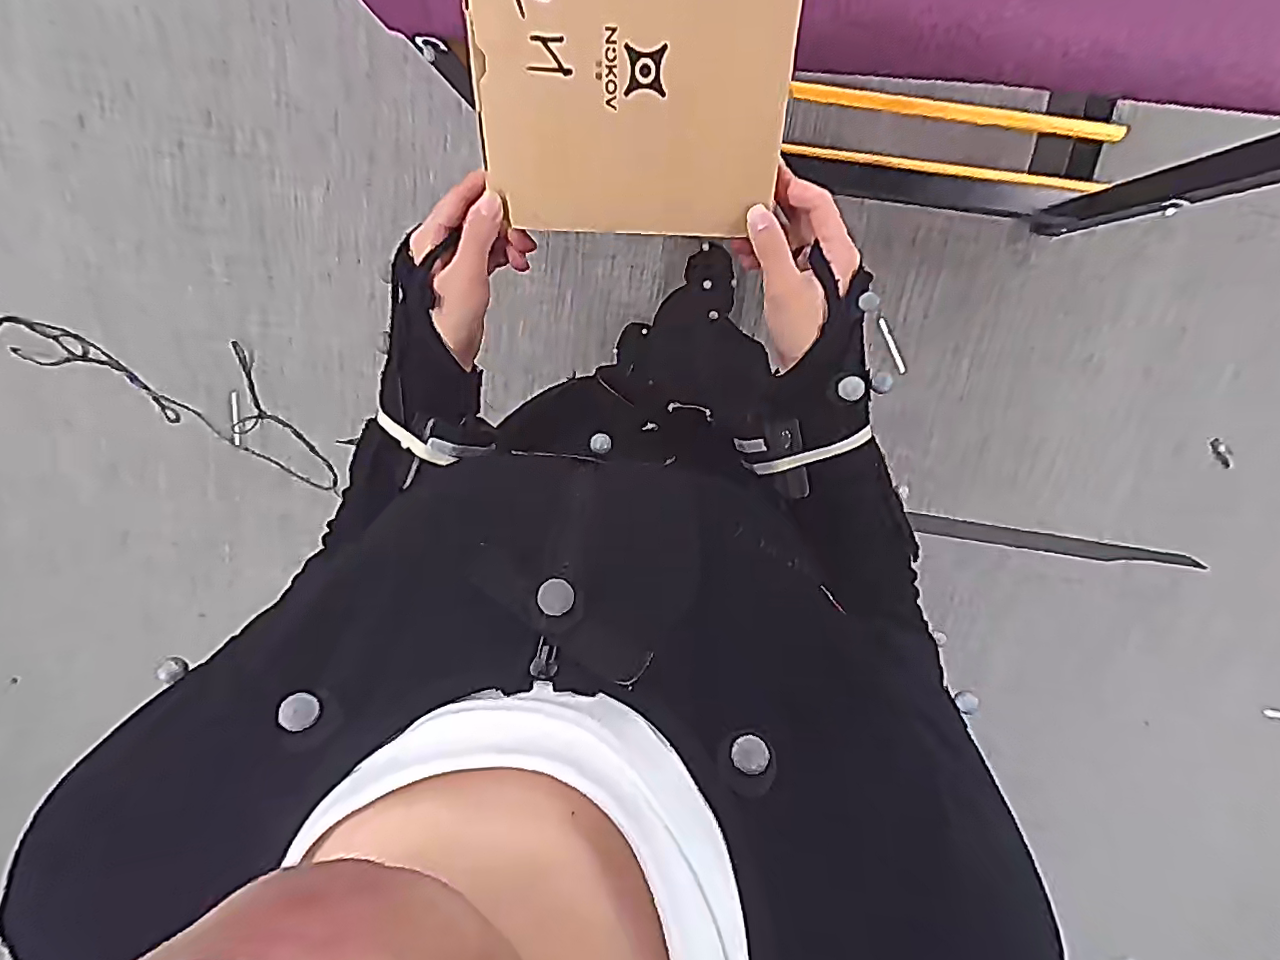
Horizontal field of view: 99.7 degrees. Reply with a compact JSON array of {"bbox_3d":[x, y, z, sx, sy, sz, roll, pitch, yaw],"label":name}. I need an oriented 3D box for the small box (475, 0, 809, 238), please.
[{"bbox_3d":[0.003,-0.268,0.361,0.179,0.176,0.168,4,122,2],"label":"small box"}]
